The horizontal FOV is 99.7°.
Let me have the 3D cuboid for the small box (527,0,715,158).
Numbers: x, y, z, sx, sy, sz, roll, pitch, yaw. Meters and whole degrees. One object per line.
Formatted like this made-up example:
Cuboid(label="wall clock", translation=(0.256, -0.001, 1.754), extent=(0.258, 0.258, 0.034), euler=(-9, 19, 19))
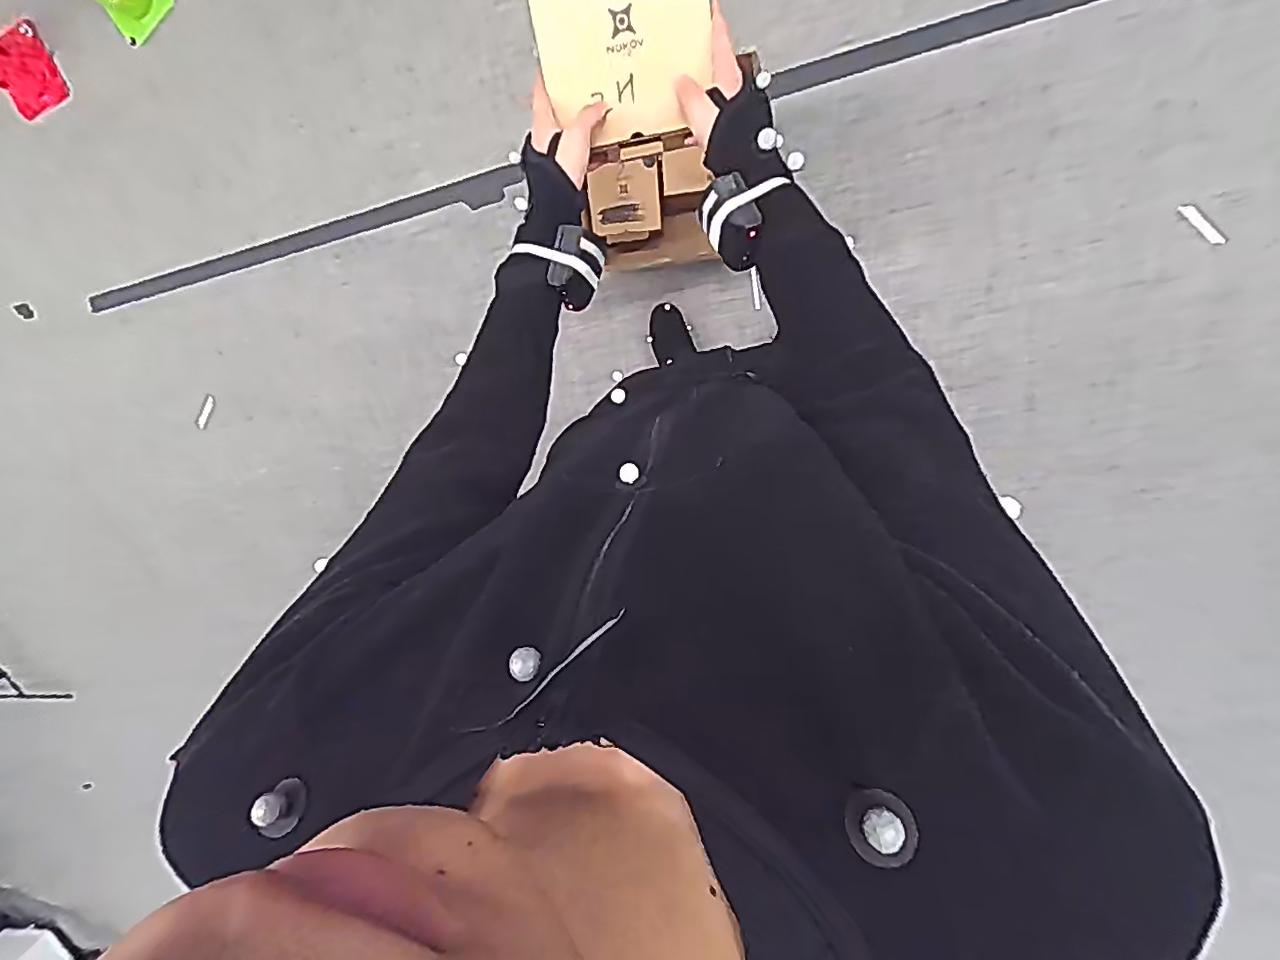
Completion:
Cuboid(label="small box", translation=(-0.012, -0.456, 0.567), extent=(0.168, 0.176, 0.179), euler=(-5, 117, 10))
